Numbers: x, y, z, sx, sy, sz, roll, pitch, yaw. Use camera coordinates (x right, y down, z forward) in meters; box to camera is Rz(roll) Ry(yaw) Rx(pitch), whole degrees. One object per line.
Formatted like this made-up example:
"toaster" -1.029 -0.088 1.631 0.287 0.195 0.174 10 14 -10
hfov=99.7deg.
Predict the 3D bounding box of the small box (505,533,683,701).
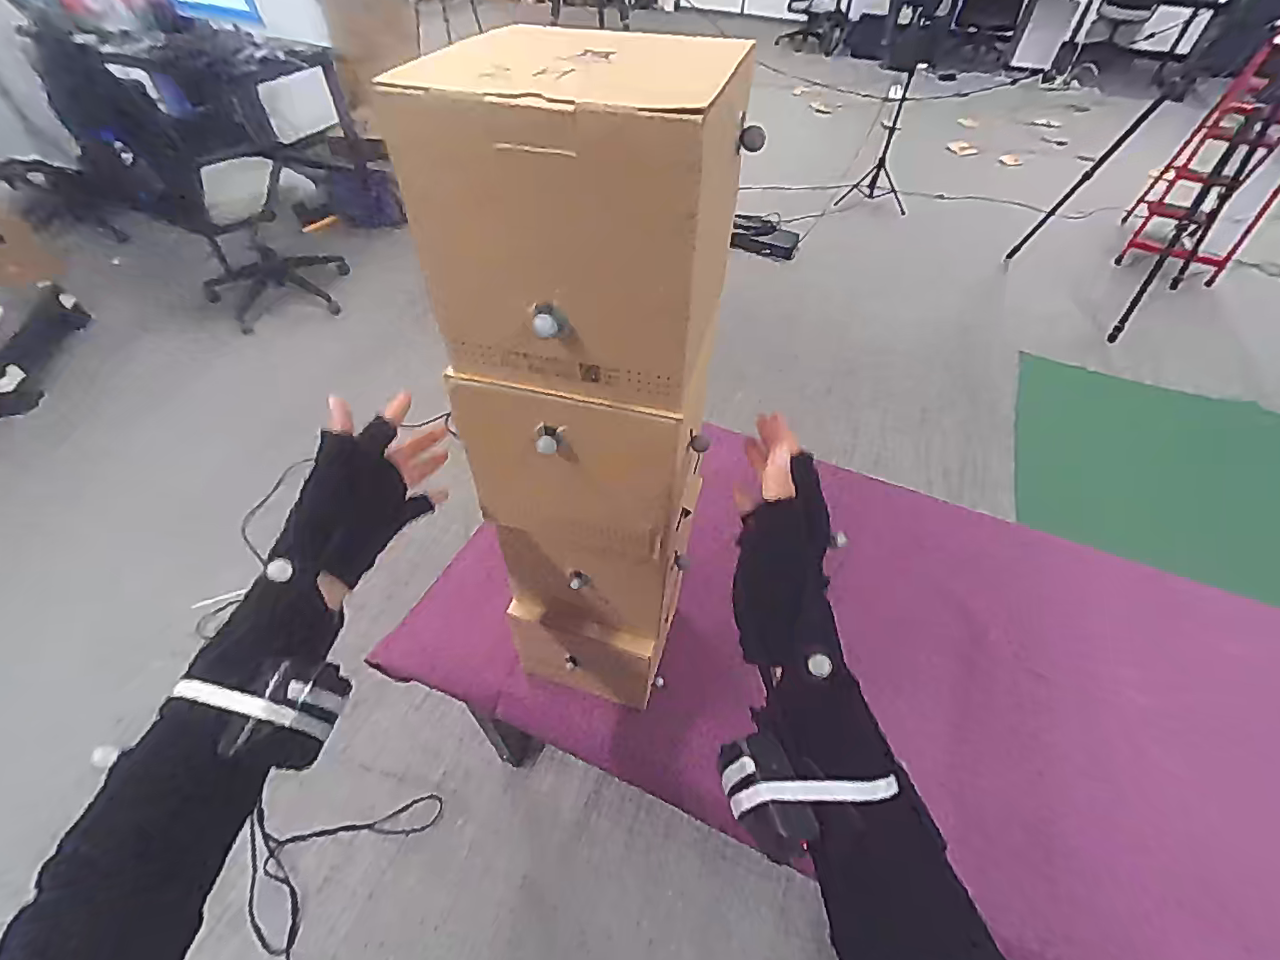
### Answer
"small box" -0.054 0.171 0.719 0.179 0.176 0.168 15 49 10

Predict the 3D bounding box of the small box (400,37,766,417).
"small box" -0.023 -0.172 0.367 0.168 0.176 0.179 13 49 9

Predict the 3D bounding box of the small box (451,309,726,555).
"small box" -0.033 -0.054 0.482 0.179 0.176 0.168 13 49 9
